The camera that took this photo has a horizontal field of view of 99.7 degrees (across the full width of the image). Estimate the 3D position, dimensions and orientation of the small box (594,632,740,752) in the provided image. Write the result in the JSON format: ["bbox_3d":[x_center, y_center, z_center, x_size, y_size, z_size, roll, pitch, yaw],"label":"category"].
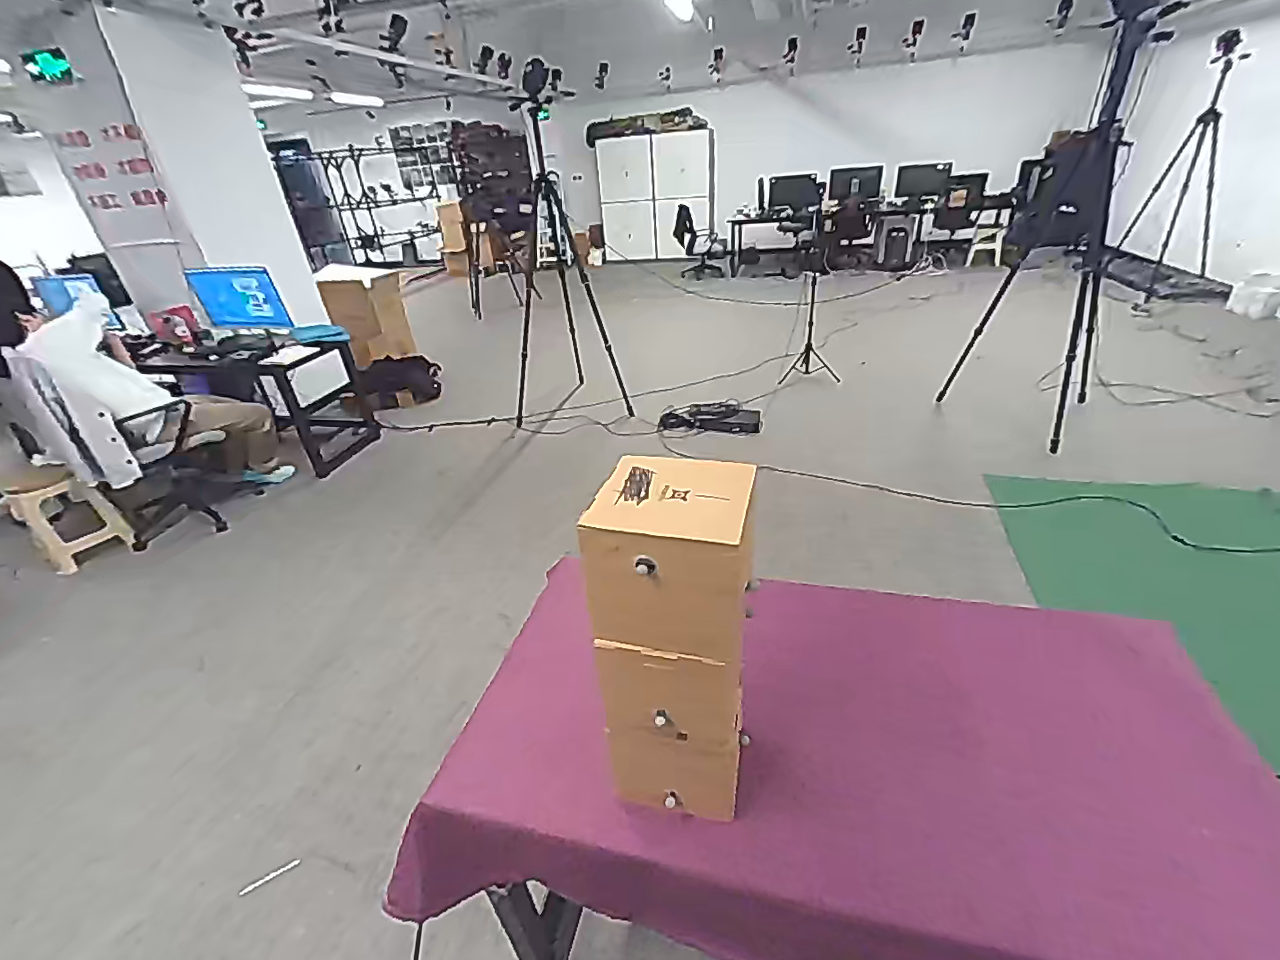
[{"bbox_3d":[0.048,0.232,0.741,0.168,0.176,0.179,3,32,15],"label":"small box"}]

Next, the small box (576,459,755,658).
[{"bbox_3d":[0.040,0.090,0.657,0.179,0.176,0.168,6,32,16],"label":"small box"}]

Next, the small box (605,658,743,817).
[{"bbox_3d":[0.059,0.376,0.820,0.179,0.176,0.168,4,31,13],"label":"small box"}]
